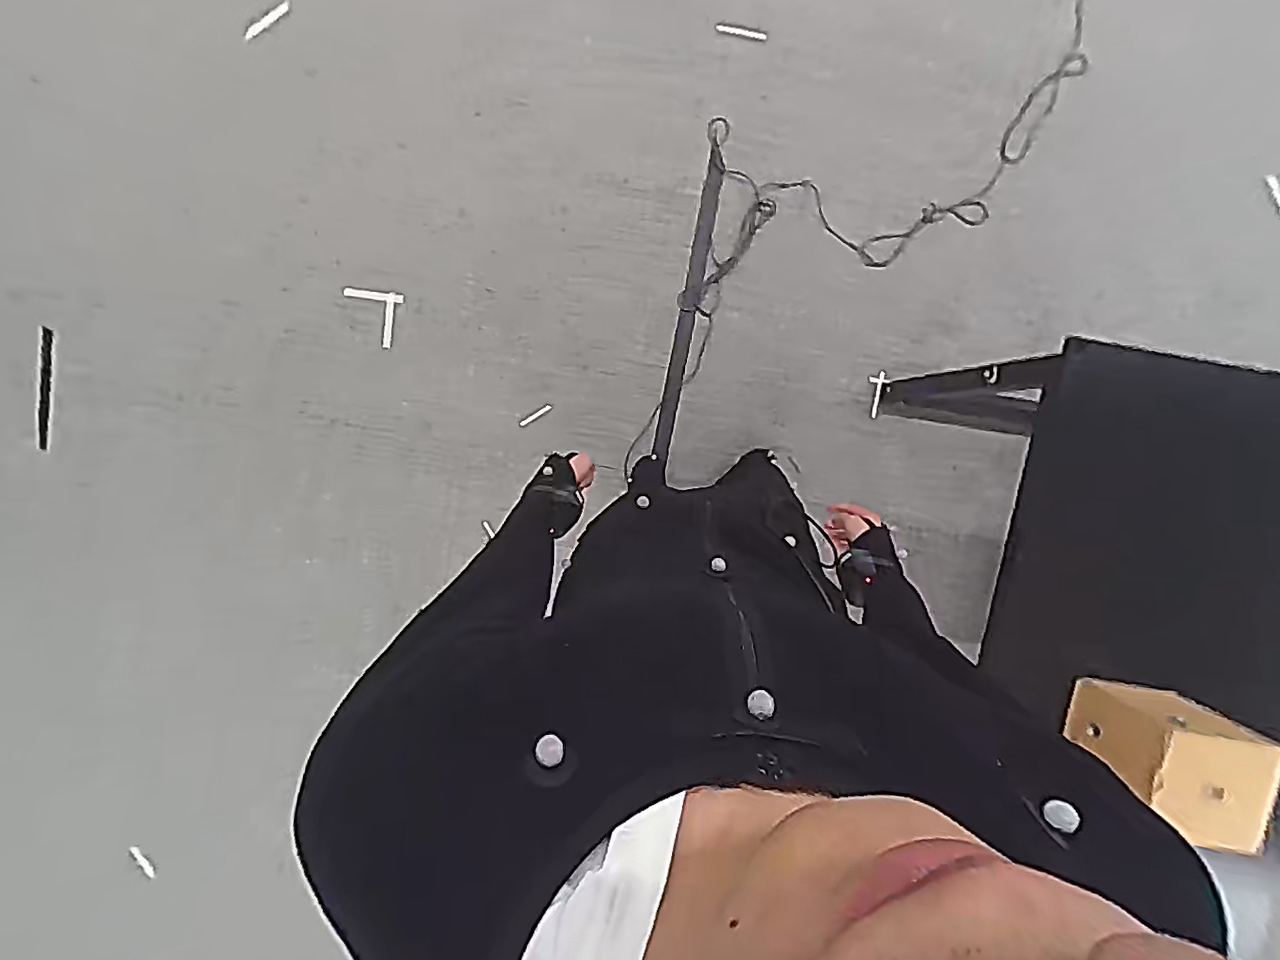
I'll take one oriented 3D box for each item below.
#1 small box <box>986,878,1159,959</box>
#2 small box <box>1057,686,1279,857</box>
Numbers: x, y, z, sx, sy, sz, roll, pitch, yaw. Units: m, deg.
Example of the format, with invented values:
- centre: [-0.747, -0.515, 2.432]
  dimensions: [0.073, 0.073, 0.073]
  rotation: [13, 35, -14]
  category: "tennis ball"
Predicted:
- centre: [0.724, 0.806, 0.890]
  dimensions: [0.179, 0.176, 0.168]
  rotation: [15, 94, -2]
  category: "small box"
- centre: [0.825, 0.449, 0.858]
  dimensions: [0.179, 0.176, 0.168]
  rotation: [9, 96, -1]
  category: "small box"
